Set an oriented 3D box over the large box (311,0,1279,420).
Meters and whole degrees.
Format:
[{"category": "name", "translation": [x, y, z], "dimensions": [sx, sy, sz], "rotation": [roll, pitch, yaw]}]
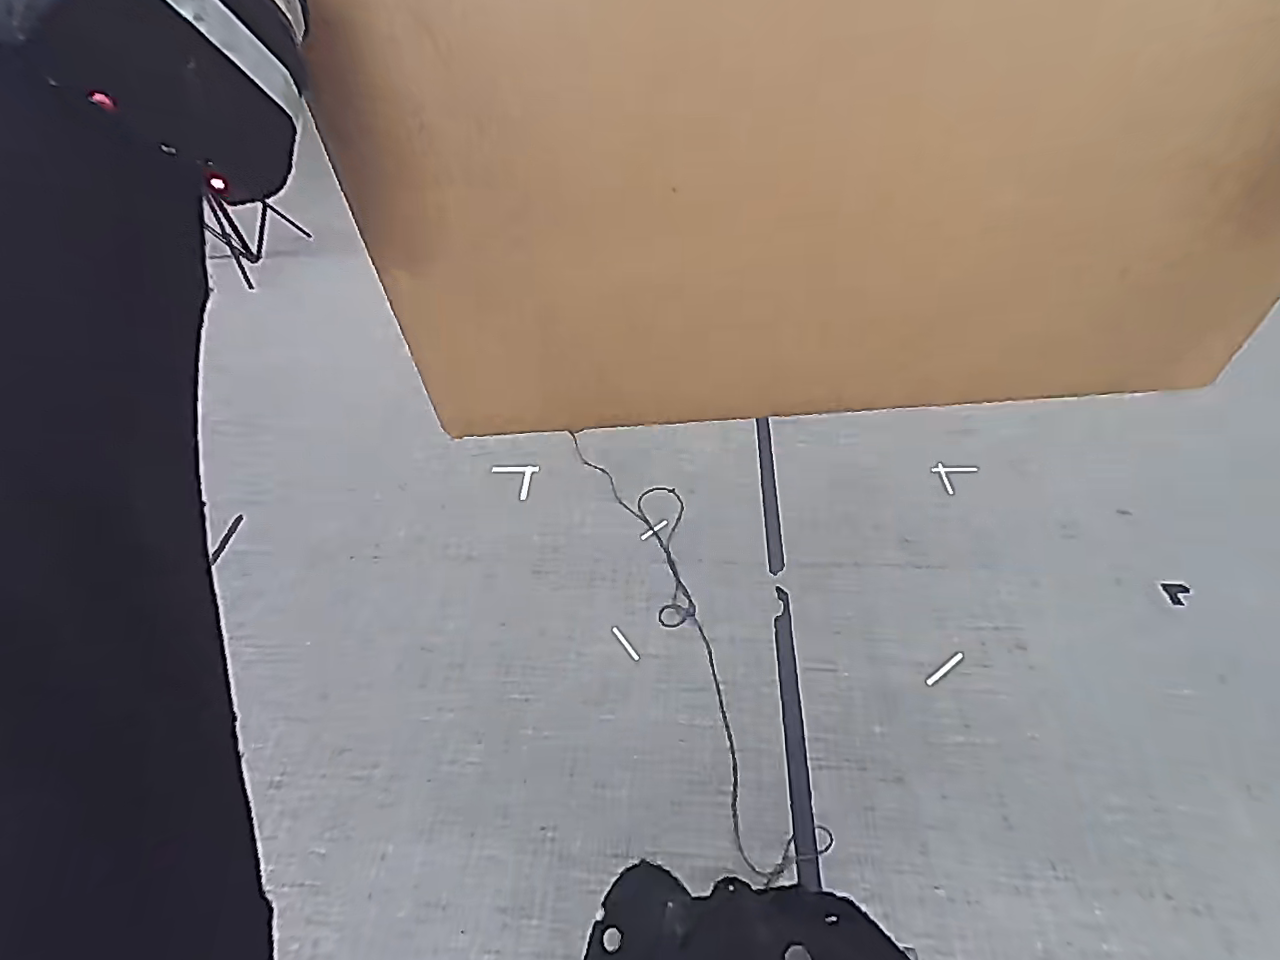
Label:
[{"category": "large box", "translation": [0.079, -0.255, 0.304], "dimensions": [0.408, 0.320, 0.320], "rotation": [-4, 45, 0]}]
